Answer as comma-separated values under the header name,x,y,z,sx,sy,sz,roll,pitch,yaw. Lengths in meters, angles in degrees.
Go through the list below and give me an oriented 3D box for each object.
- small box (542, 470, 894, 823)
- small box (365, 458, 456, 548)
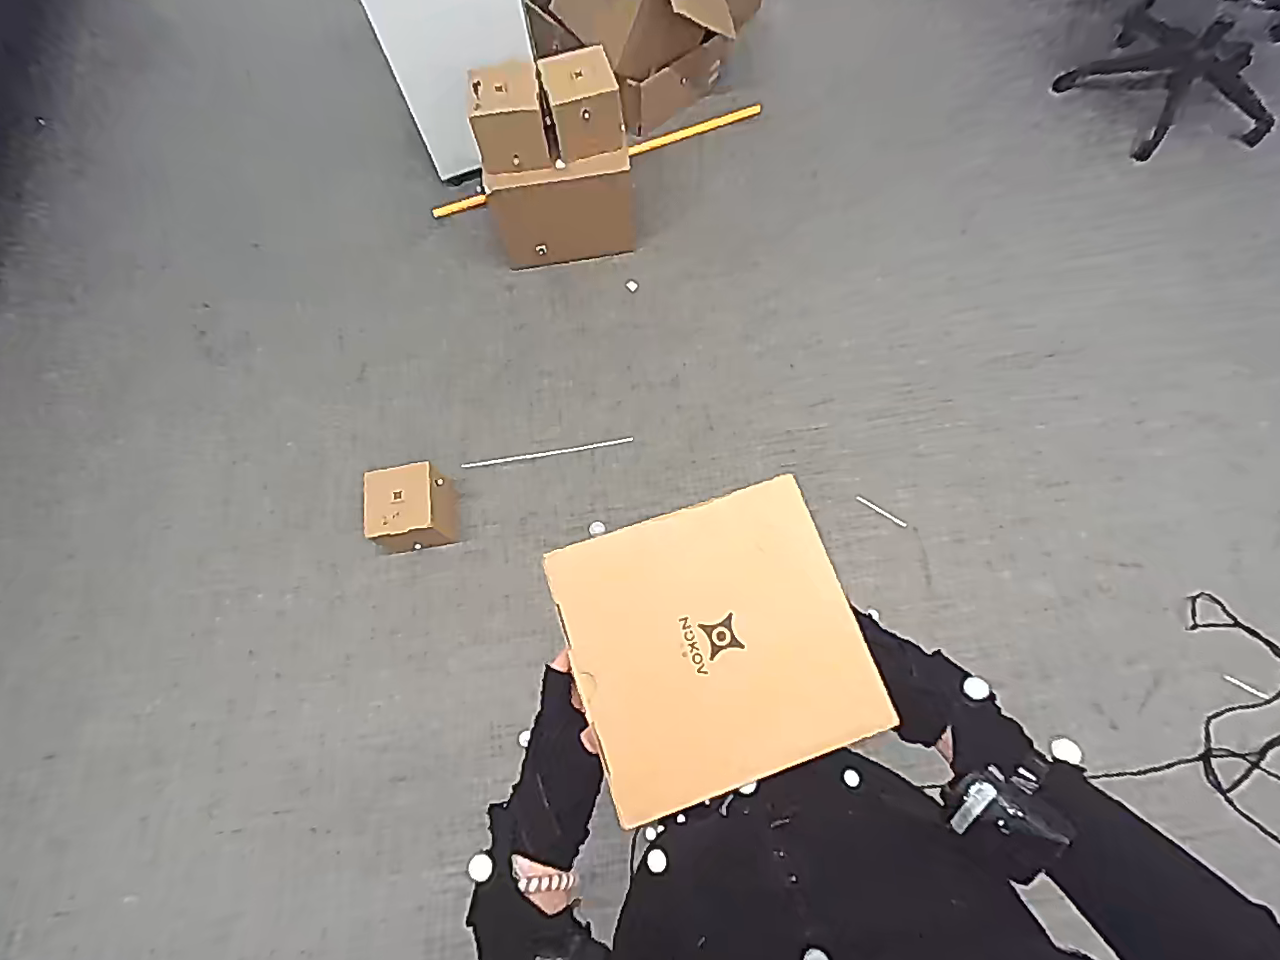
name,x,y,z,sx,sy,sz,roll,pitch,yaw
small box,0.043,0.110,0.405,0.179,0.176,0.168,-19,77,-4
small box,-0.586,0.064,1.395,0.168,0.176,0.179,-10,71,-1
